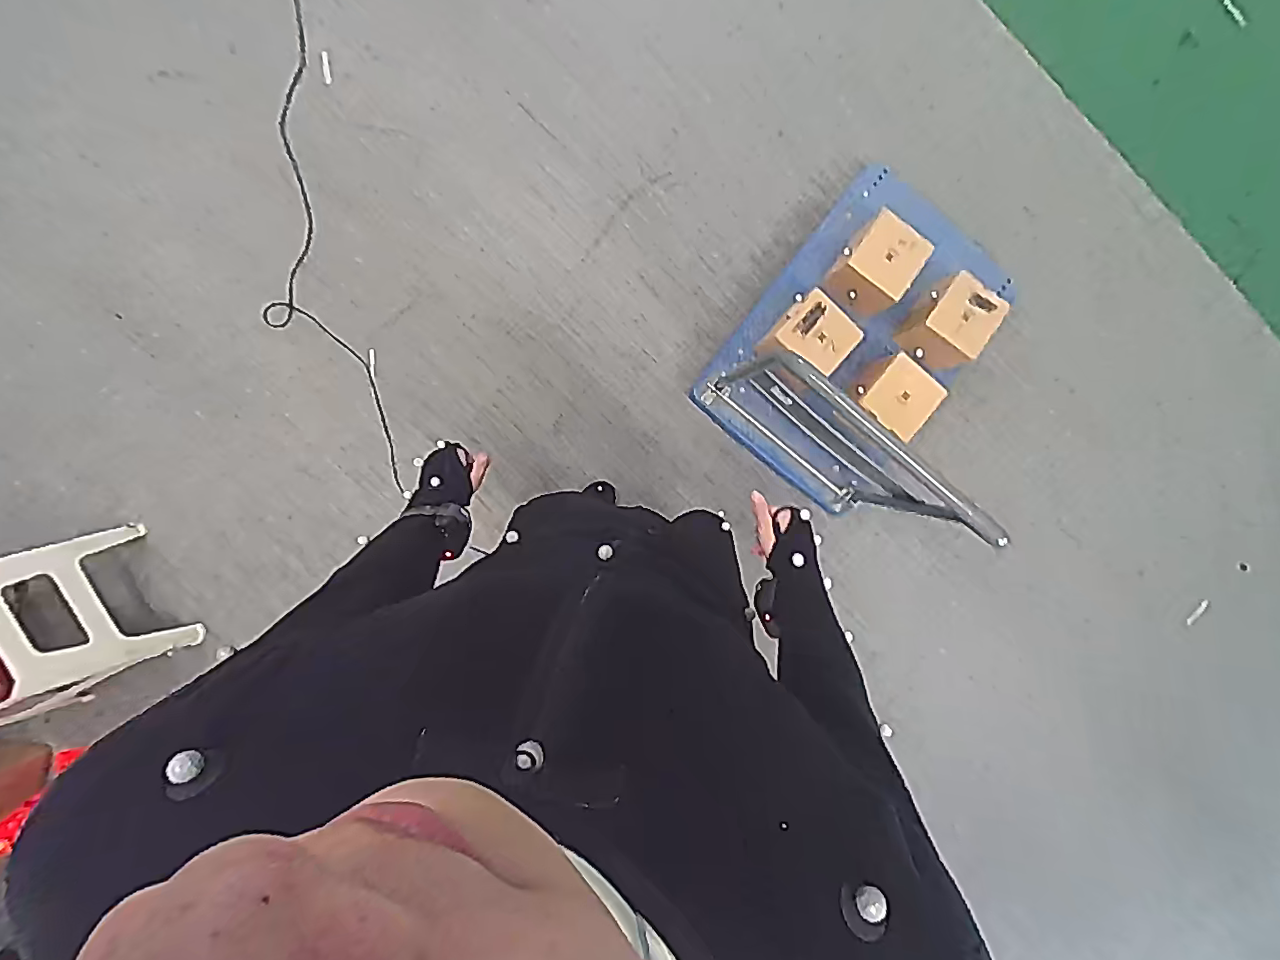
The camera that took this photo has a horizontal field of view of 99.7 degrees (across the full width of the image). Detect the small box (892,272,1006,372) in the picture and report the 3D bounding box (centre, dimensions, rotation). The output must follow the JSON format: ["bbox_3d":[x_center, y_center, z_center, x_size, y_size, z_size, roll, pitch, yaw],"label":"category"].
[{"bbox_3d":[0.824,-0.418,1.461,0.168,0.176,0.179,35,89,-4],"label":"small box"}]

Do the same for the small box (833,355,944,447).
[{"bbox_3d":[0.657,-0.205,1.452,0.168,0.176,0.179,39,88,-5],"label":"small box"}]

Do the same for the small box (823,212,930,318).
[{"bbox_3d":[0.616,-0.561,1.440,0.168,0.176,0.179,35,88,-6],"label":"small box"}]
